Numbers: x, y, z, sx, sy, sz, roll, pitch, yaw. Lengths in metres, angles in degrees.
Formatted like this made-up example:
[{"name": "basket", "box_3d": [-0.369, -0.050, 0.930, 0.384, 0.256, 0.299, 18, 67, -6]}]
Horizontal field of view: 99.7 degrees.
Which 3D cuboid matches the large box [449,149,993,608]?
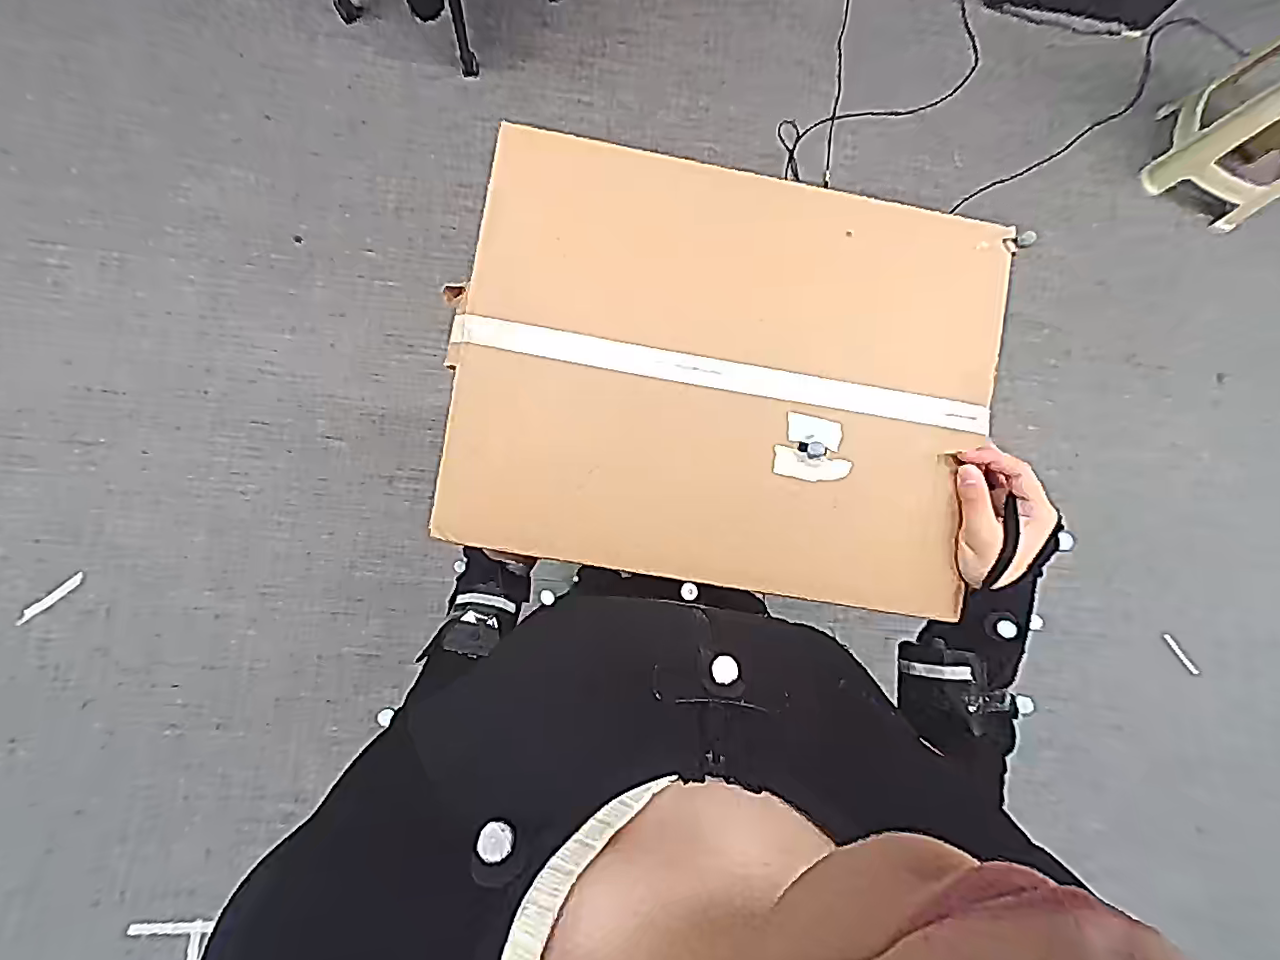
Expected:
[{"name": "large box", "box_3d": [0.059, -0.071, 0.566, 0.408, 0.320, 0.320, 9, 89, -5]}]
